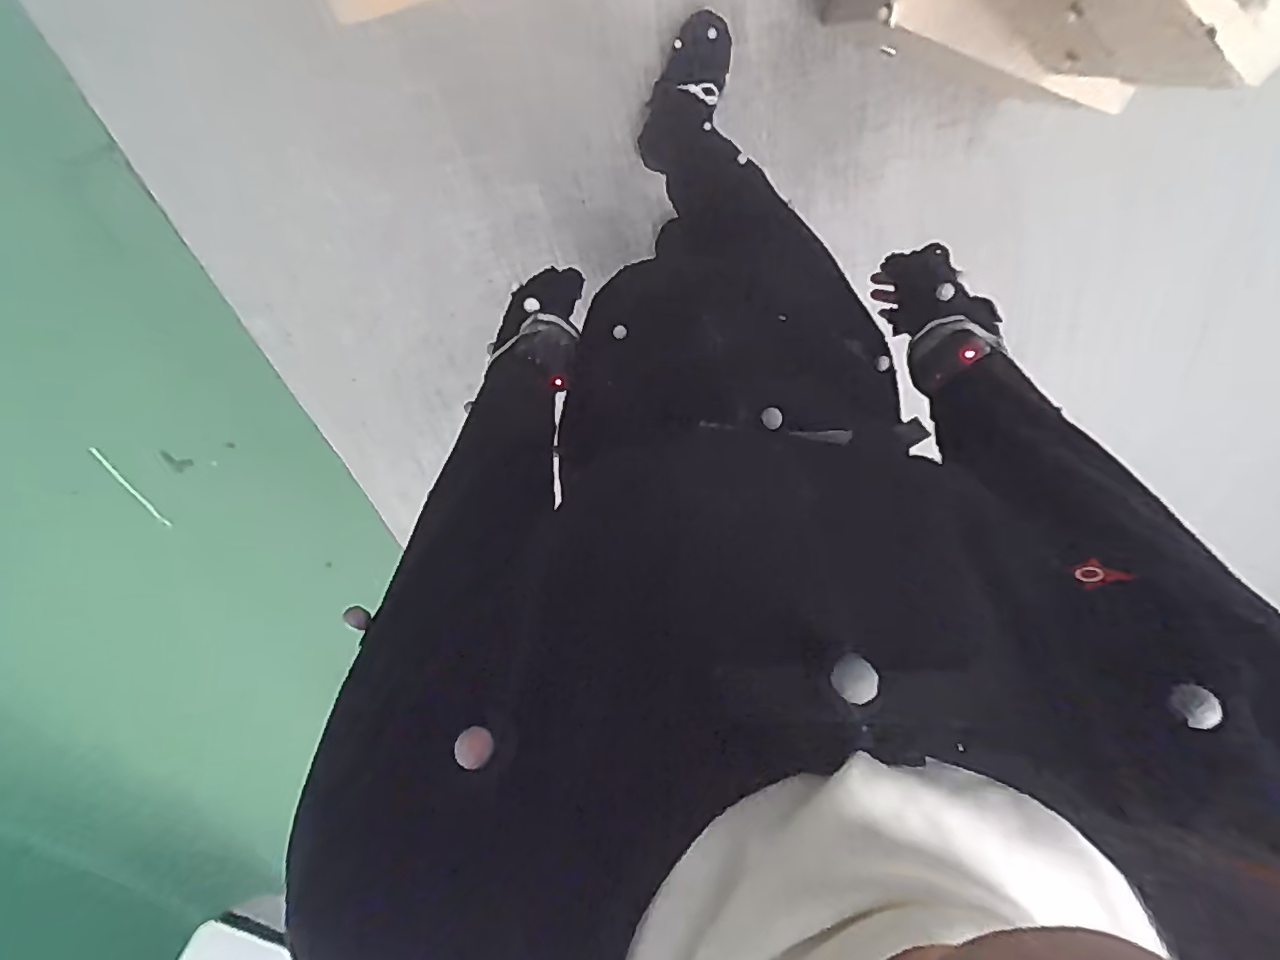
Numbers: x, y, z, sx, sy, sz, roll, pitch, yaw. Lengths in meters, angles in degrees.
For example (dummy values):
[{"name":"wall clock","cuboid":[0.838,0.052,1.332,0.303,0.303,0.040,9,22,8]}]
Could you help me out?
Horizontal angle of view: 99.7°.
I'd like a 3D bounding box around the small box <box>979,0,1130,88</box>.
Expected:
[{"name":"small box","cuboid":[0.568,-0.618,0.655,0.179,0.176,0.168,27,123,-18]}]
